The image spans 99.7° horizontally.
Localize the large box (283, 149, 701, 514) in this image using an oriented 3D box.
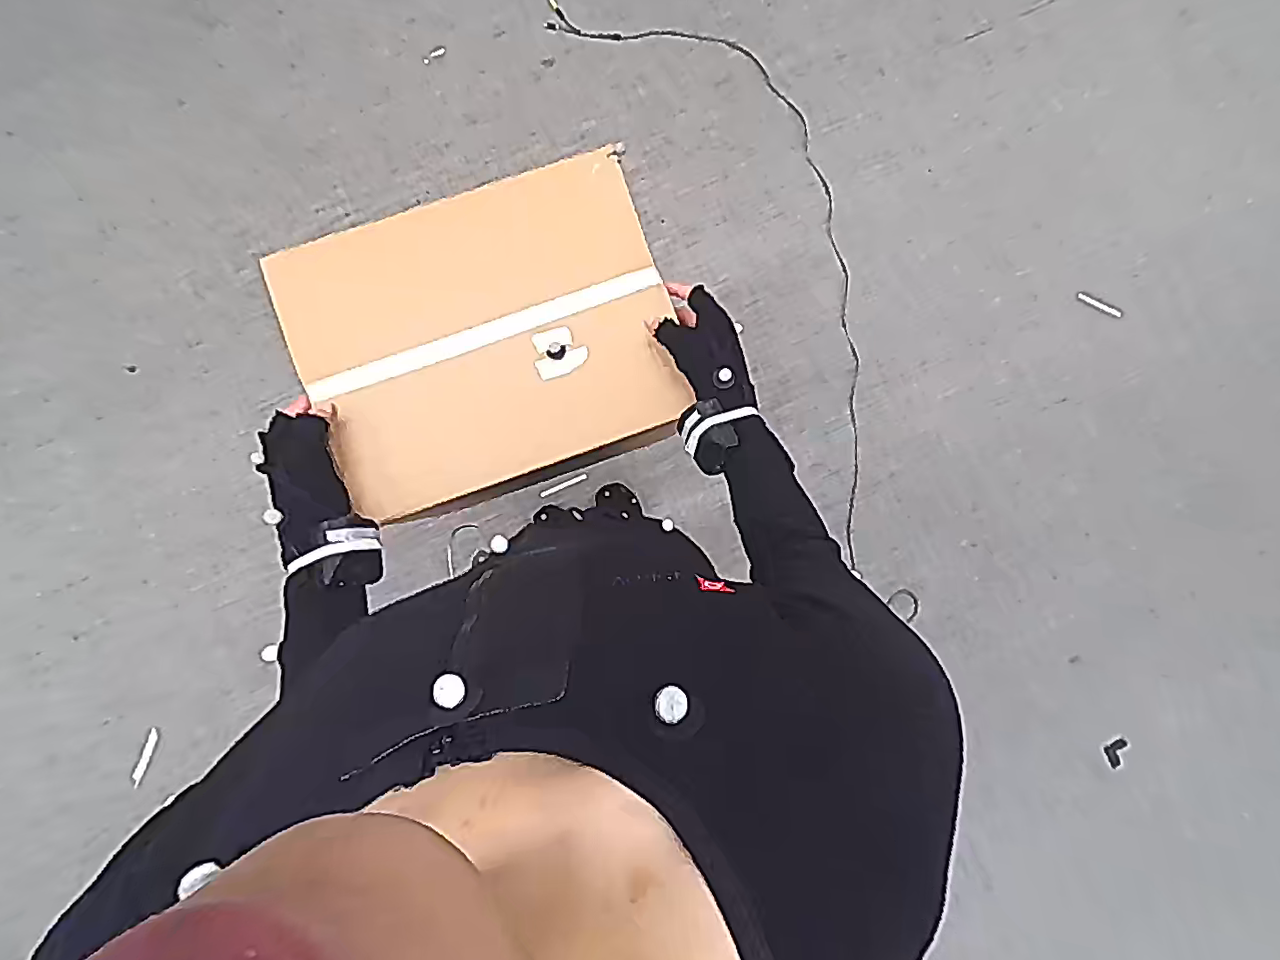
[{"bbox_3d":[-0.172,-0.166,0.758,0.408,0.320,0.320,-20,90,-3],"label":"large box"}]
